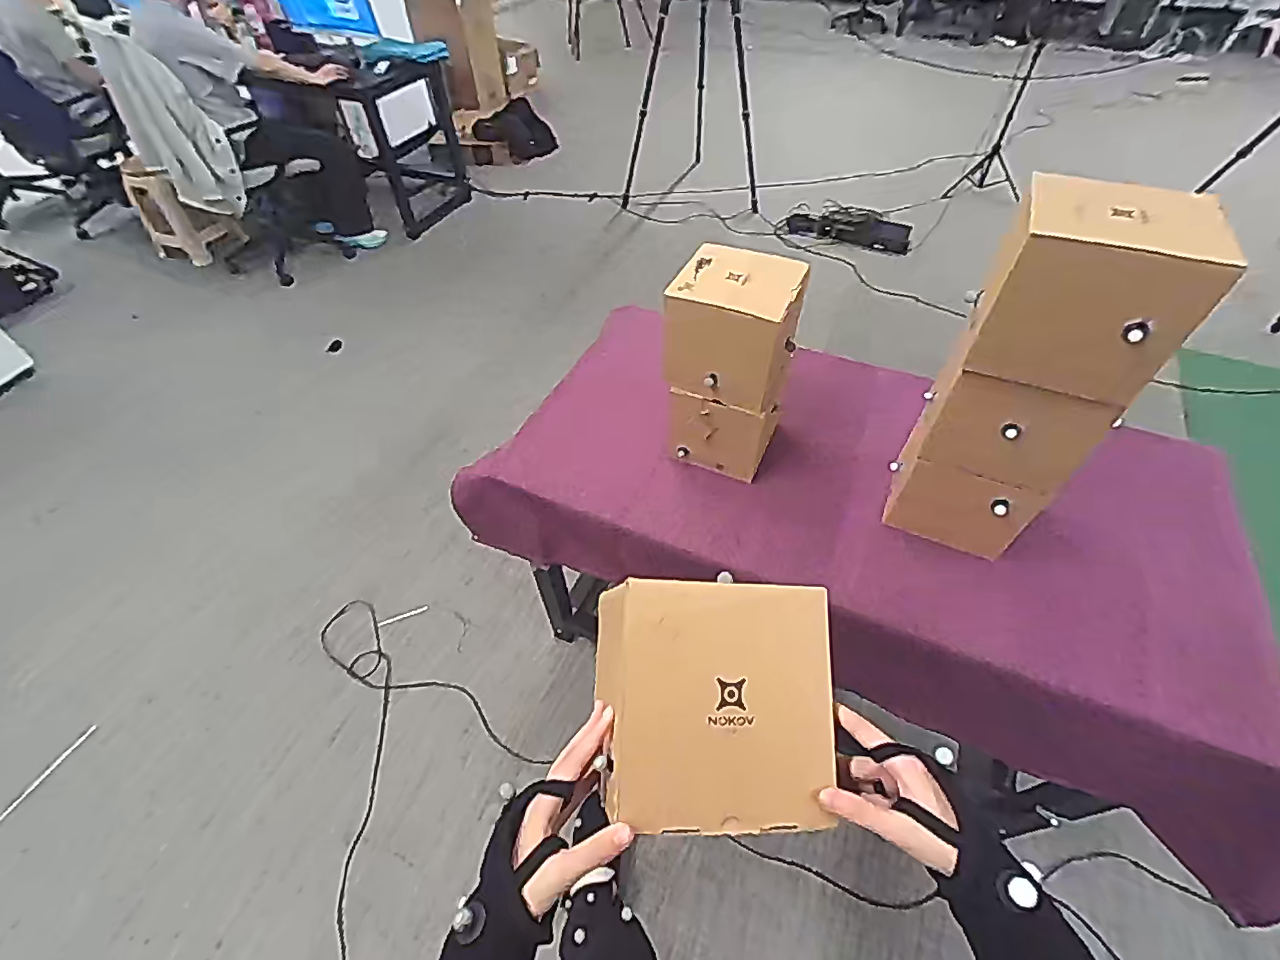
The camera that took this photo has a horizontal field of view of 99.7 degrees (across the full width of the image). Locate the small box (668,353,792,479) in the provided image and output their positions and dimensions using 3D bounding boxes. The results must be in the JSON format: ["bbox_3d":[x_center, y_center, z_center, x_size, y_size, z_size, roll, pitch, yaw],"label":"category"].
[{"bbox_3d":[0.158,-0.130,0.974,0.168,0.176,0.179,19,53,16],"label":"small box"}]

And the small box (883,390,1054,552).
[{"bbox_3d":[0.515,-0.009,0.860,0.179,0.176,0.168,20,53,18],"label":"small box"}]

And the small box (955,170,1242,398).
[{"bbox_3d":[0.488,-0.215,0.605,0.179,0.176,0.168,19,53,18],"label":"small box"}]

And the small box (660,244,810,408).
[{"bbox_3d":[0.143,-0.238,0.850,0.179,0.176,0.168,20,53,17],"label":"small box"}]
